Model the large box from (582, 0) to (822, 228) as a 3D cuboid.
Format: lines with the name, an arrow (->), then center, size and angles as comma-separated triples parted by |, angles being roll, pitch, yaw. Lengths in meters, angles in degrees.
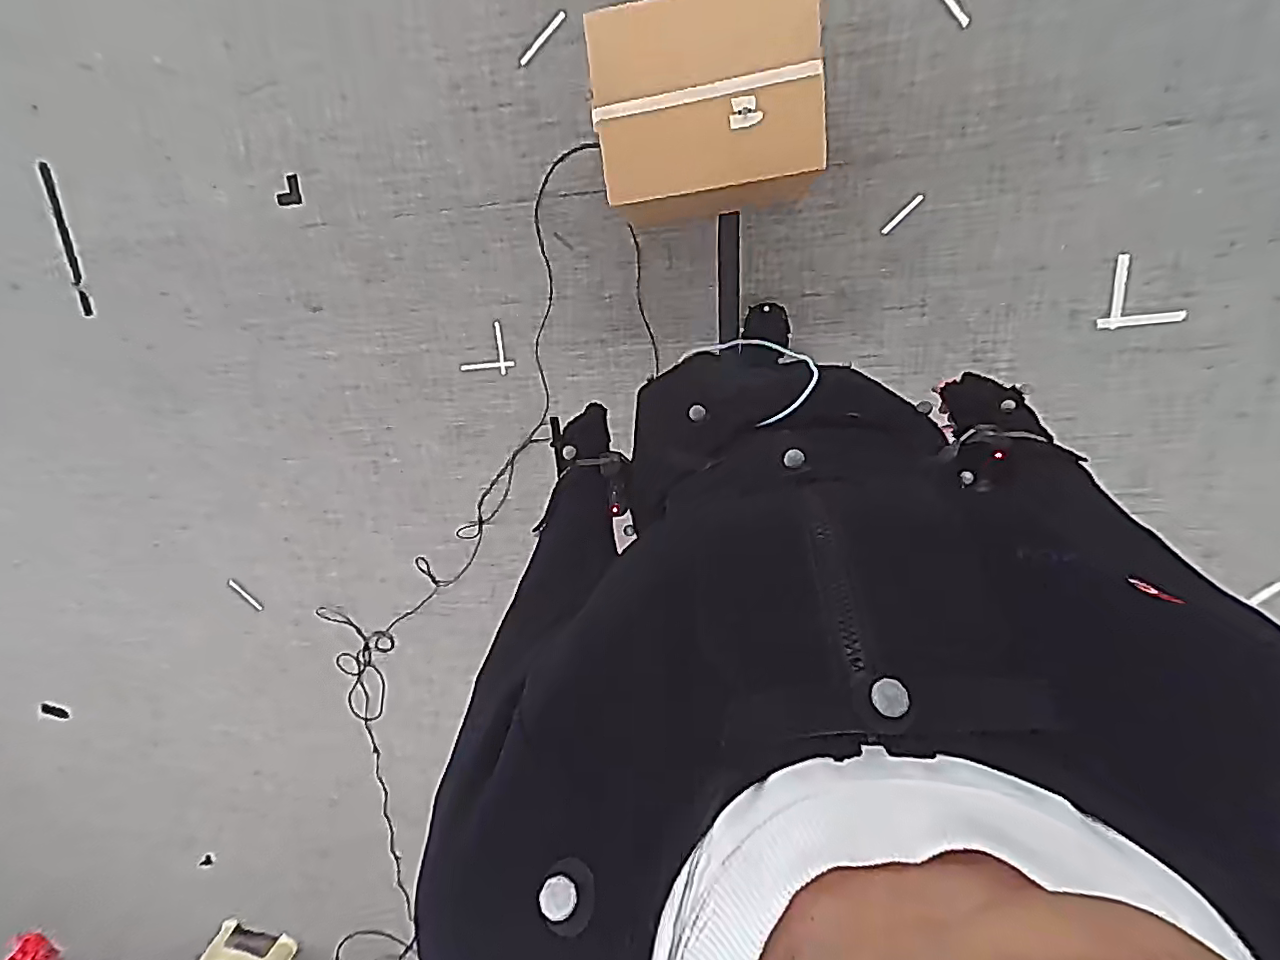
large box -> 0.128, -0.730, 1.099 | 0.408, 0.320, 0.320 | -5, 107, 9
